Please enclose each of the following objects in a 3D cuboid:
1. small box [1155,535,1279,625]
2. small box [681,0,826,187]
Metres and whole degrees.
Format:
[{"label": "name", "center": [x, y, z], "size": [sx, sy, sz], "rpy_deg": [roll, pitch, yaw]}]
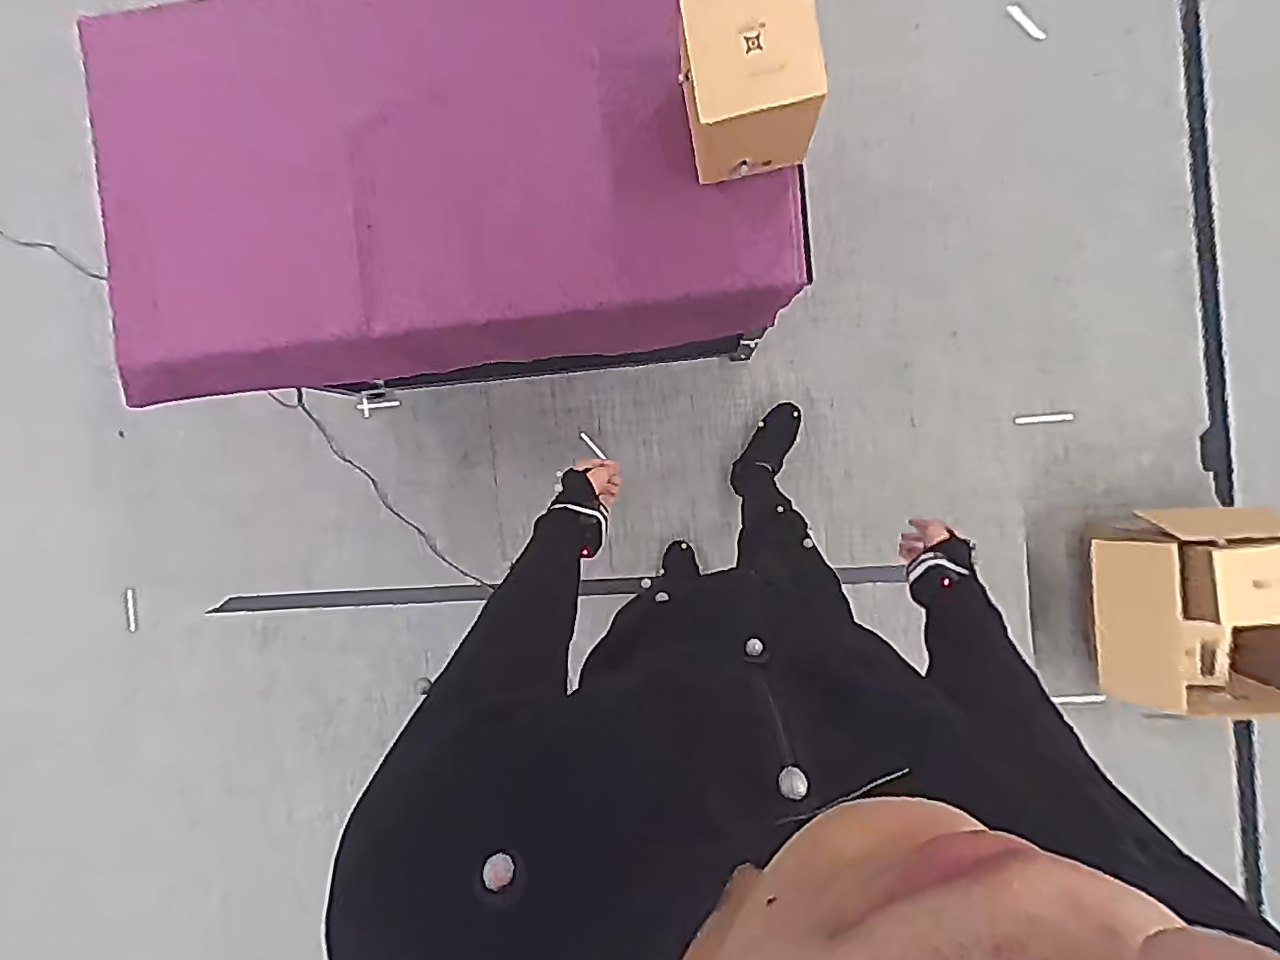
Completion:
[{"label": "small box", "center": [1.335, 0.224, 1.237], "size": [0.179, 0.176, 0.168], "rpy_deg": [-6, 92, 6]}, {"label": "small box", "center": [0.152, -0.557, 0.768], "size": [0.168, 0.176, 0.179], "rpy_deg": [-9, 91, 7]}]
